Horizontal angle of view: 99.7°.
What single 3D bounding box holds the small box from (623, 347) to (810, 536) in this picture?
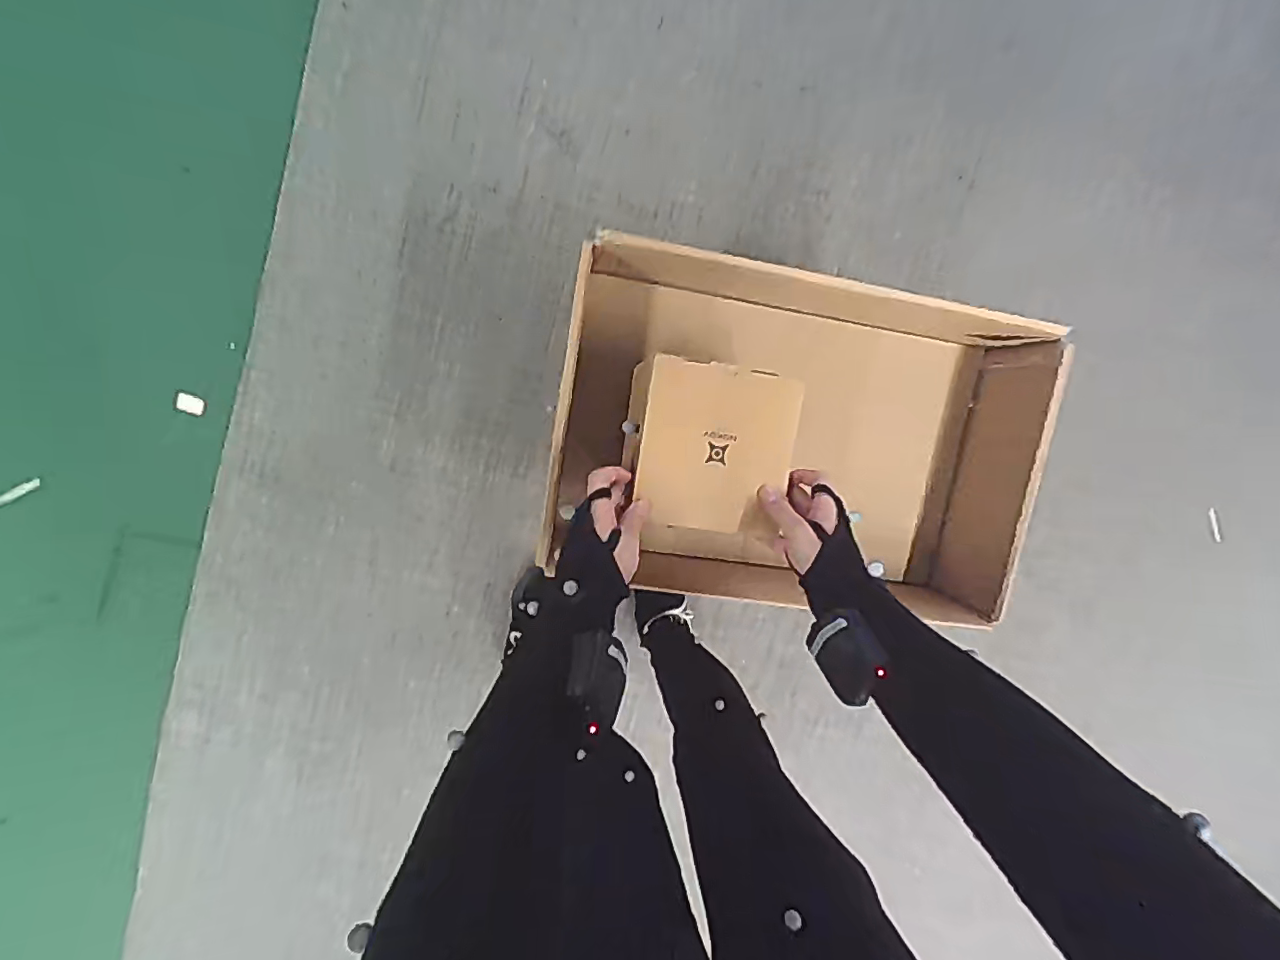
[{"bbox_3d":[0.075,-0.045,0.634,0.168,0.176,0.179,8,95,-8],"label":"small box"}]
